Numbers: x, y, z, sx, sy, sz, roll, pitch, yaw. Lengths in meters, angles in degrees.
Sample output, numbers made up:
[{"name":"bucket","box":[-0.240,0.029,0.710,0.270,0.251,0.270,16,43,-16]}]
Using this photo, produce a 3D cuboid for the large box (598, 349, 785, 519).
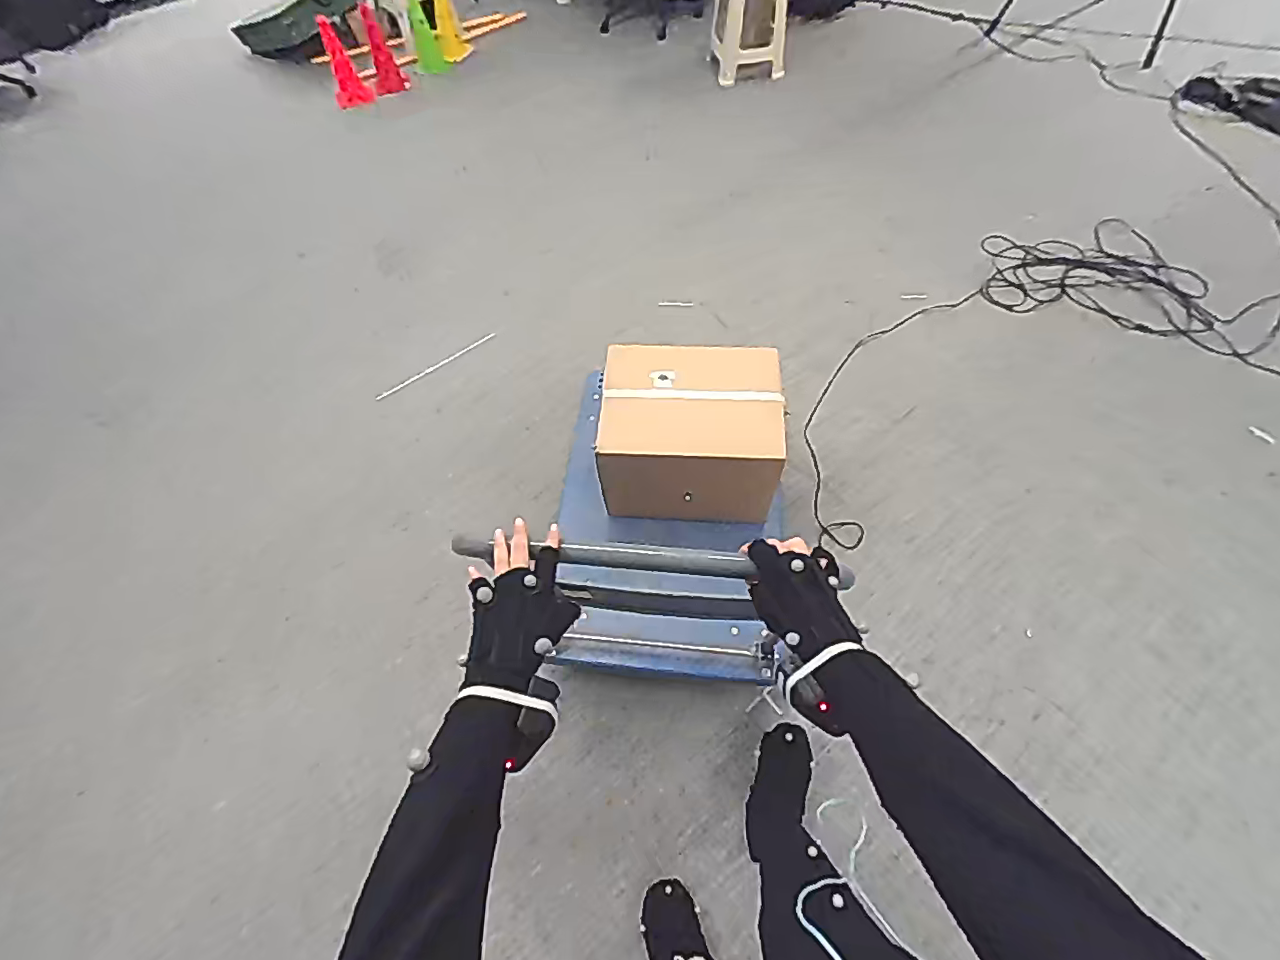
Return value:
[{"name":"large box","box":[0.124,-0.103,1.347,0.408,0.320,0.320,0,59,5]}]
